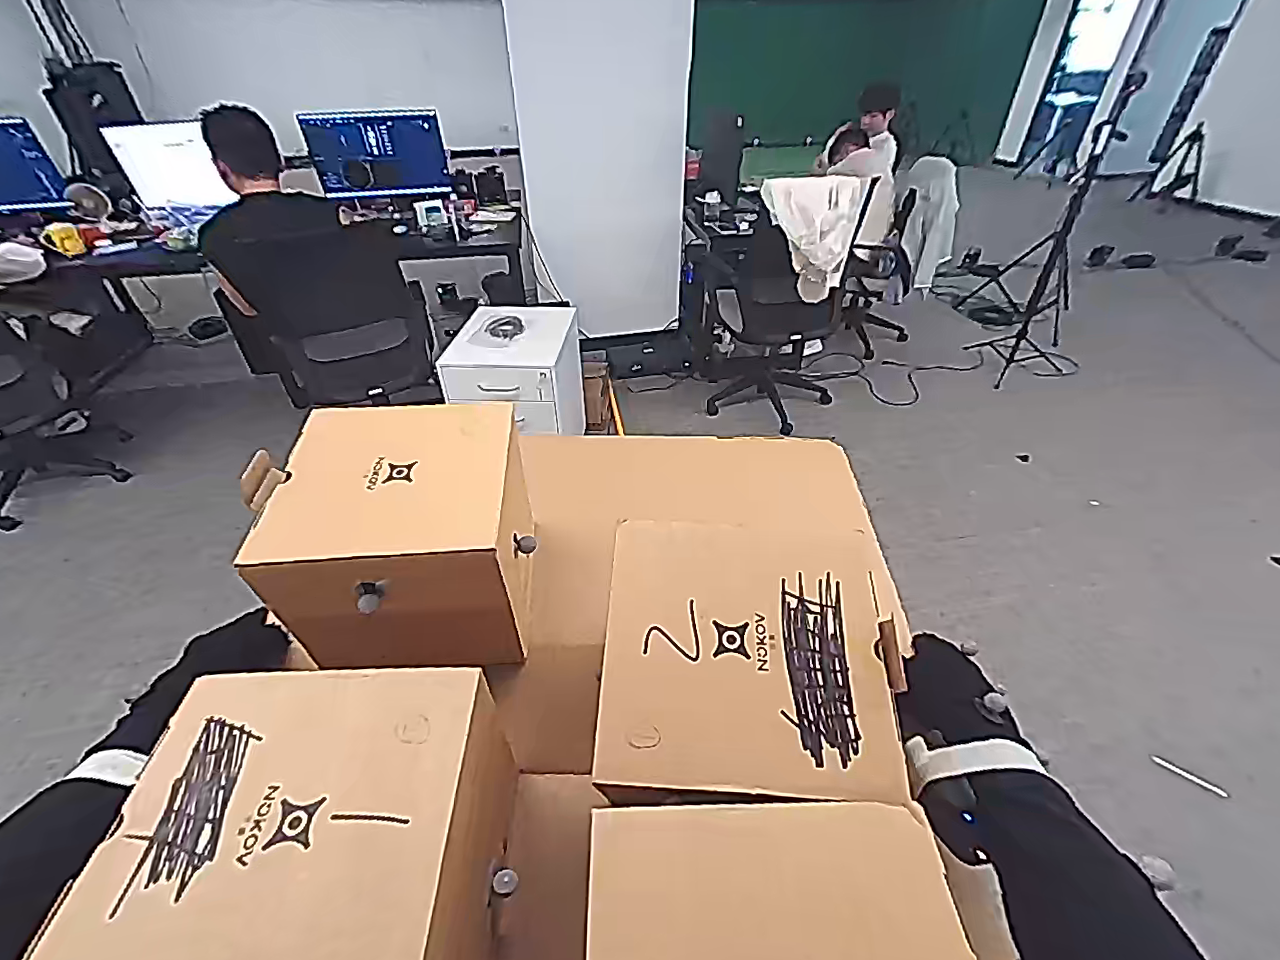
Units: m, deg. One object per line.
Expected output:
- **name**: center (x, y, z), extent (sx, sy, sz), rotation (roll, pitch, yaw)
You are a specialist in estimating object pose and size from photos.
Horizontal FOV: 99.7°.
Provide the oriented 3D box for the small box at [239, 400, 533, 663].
- **small box**: center (-0.194, 0.048, 0.484), extent (0.179, 0.176, 0.168), rotation (-3, 46, -3)
